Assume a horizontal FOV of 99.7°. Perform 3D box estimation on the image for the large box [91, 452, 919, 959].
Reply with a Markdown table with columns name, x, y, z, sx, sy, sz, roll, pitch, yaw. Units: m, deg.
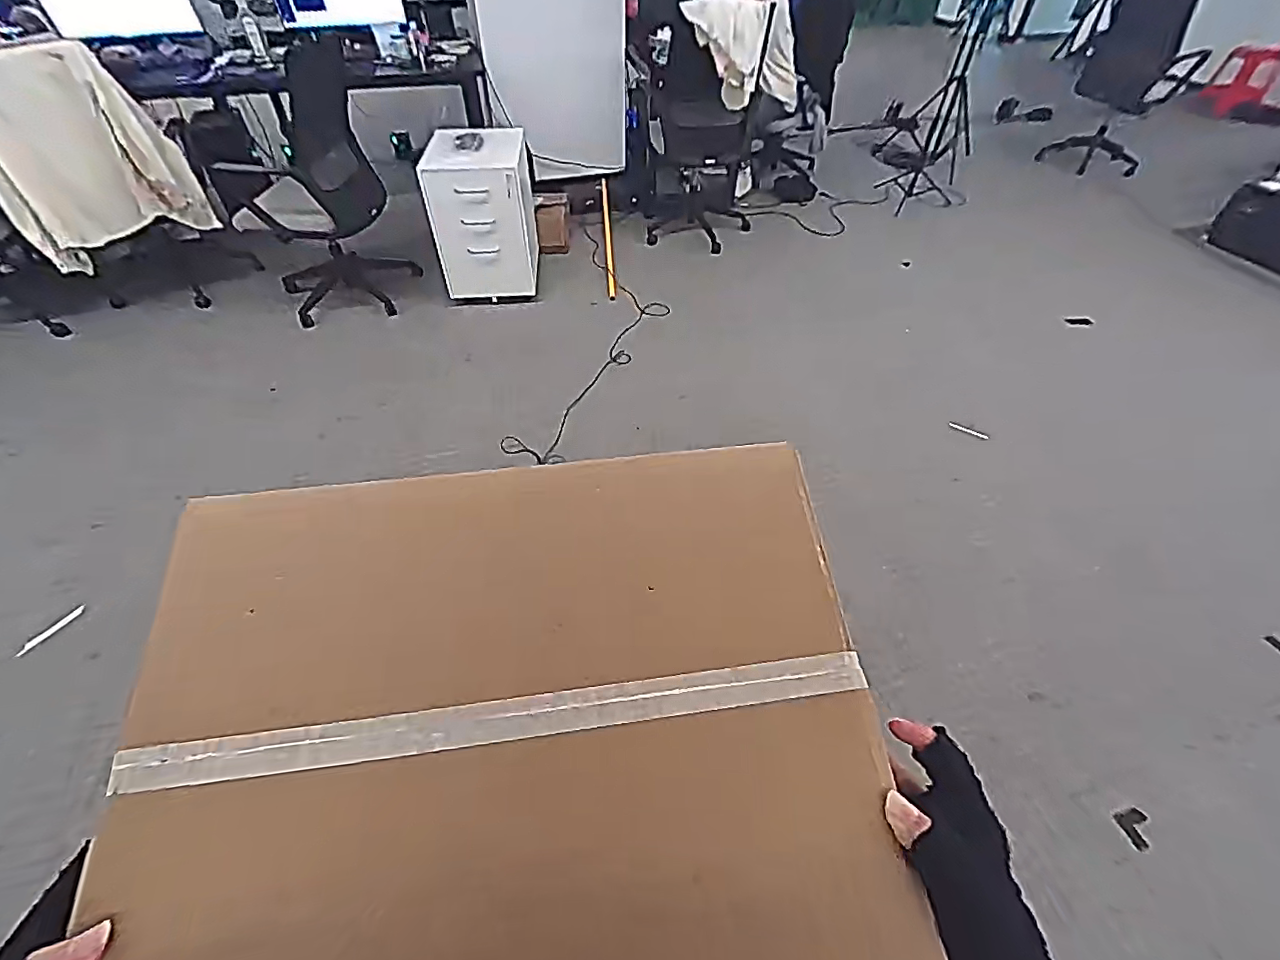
| name | x | y | z | sx | sy | sz | roll | pitch | yaw |
| --- | --- | --- | --- | --- | --- | --- | --- | --- | --- |
| large box | -0.079 | 0.201 | 0.445 | 0.408 | 0.320 | 0.320 | -6 | 63 | -4 |
